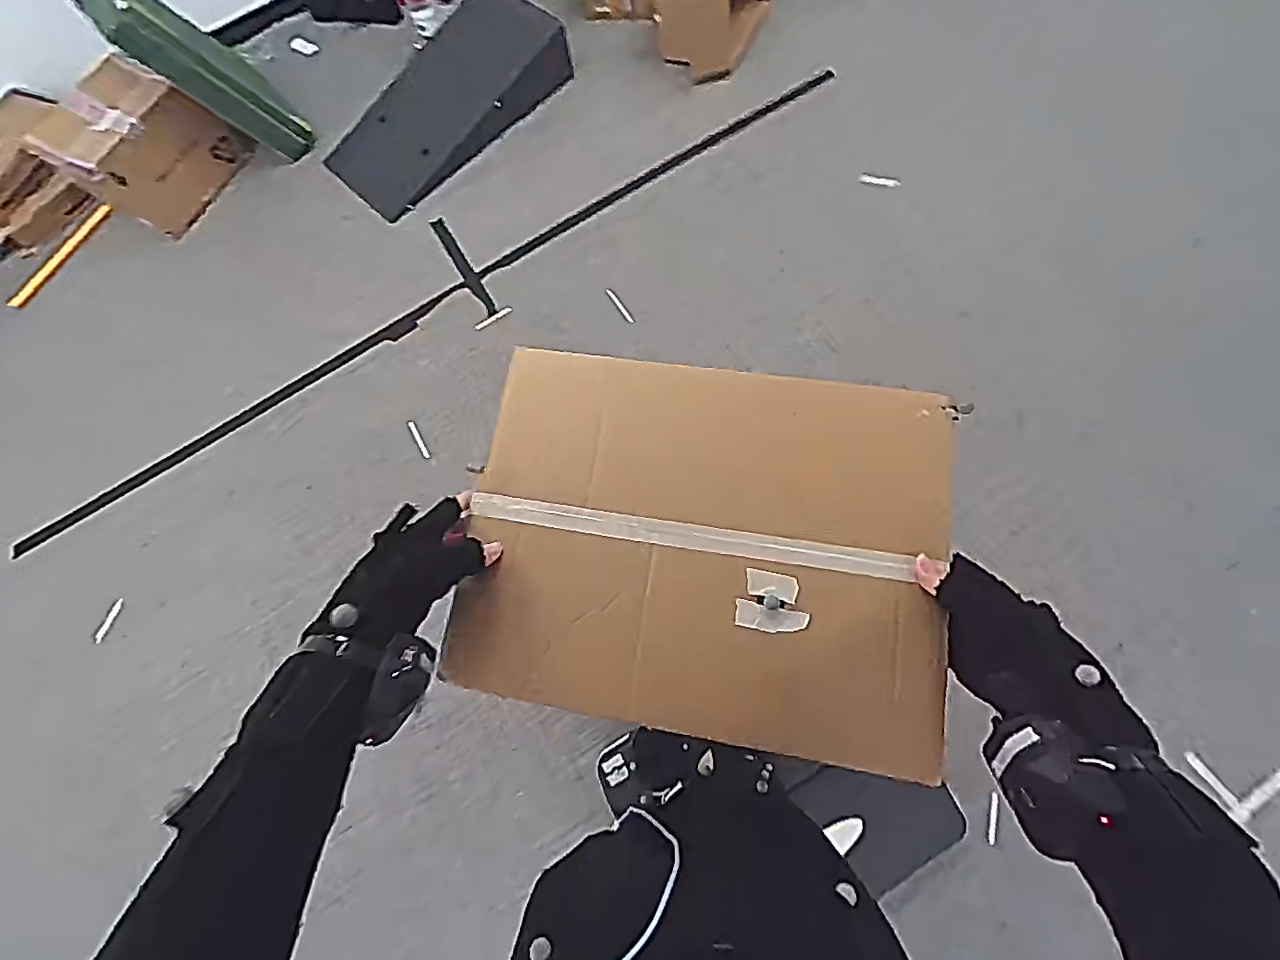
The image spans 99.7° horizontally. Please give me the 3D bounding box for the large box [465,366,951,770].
[{"bbox_3d":[0.077,0.092,0.627,0.408,0.320,0.320,9,78,9],"label":"large box"}]

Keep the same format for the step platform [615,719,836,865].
[{"bbox_3d":[0.279,0.591,1.309,0.684,0.204,0.286,-33,71,-6],"label":"step platform"}]
